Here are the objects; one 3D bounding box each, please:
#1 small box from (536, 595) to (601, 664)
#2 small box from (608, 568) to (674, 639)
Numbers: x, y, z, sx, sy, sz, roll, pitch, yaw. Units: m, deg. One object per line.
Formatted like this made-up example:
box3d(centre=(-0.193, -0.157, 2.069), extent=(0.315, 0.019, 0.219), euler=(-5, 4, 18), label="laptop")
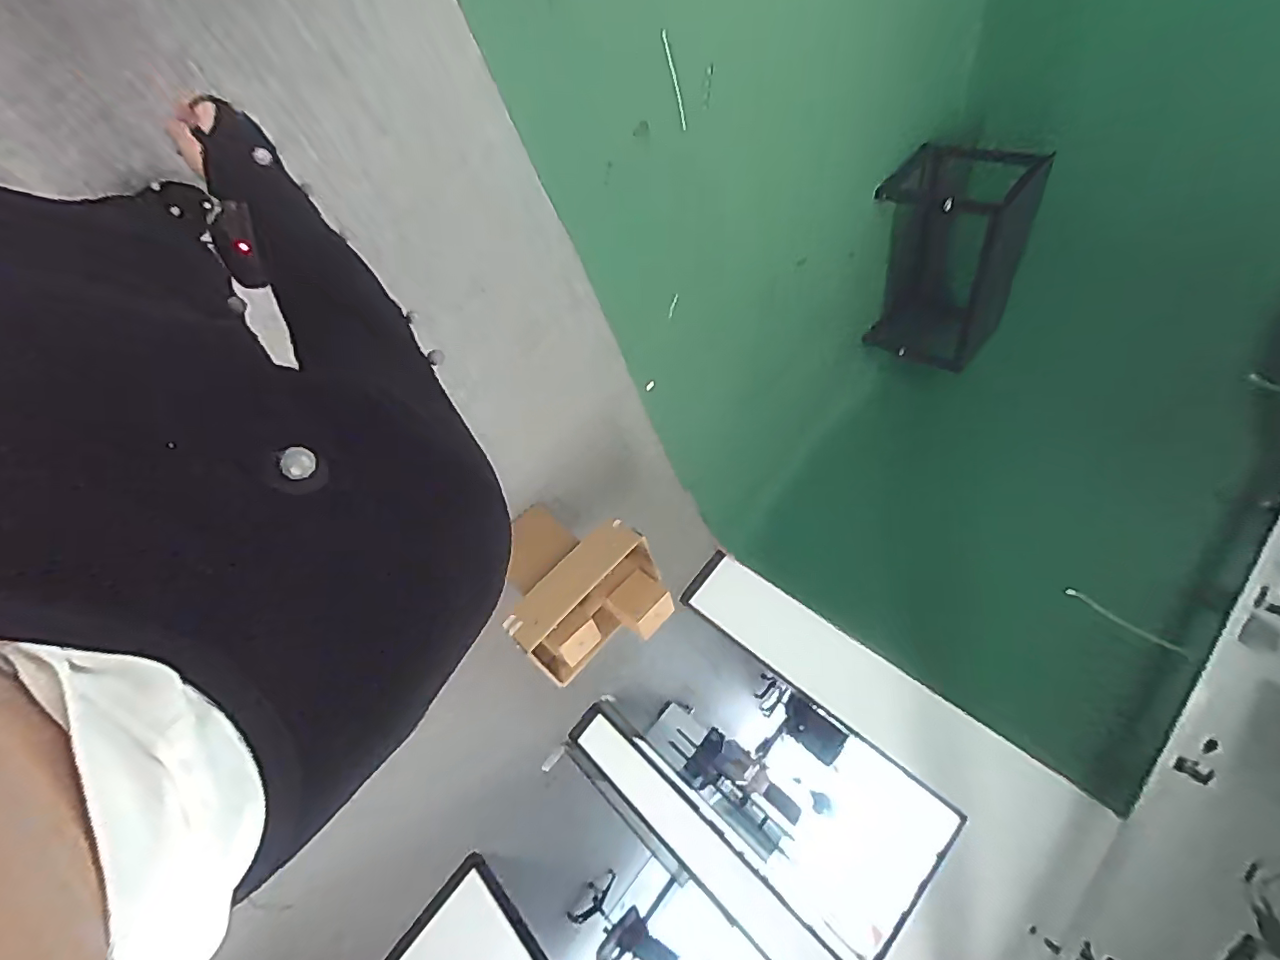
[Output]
box3d(centre=(-0.285, 0.583, 2.132), extent=(0.168, 0.176, 0.179), euler=(-40, 142, -22), label="small box")
box3d(centre=(0.004, 0.477, 2.108), extent=(0.179, 0.176, 0.168), euler=(-42, 143, -19), label="small box")
